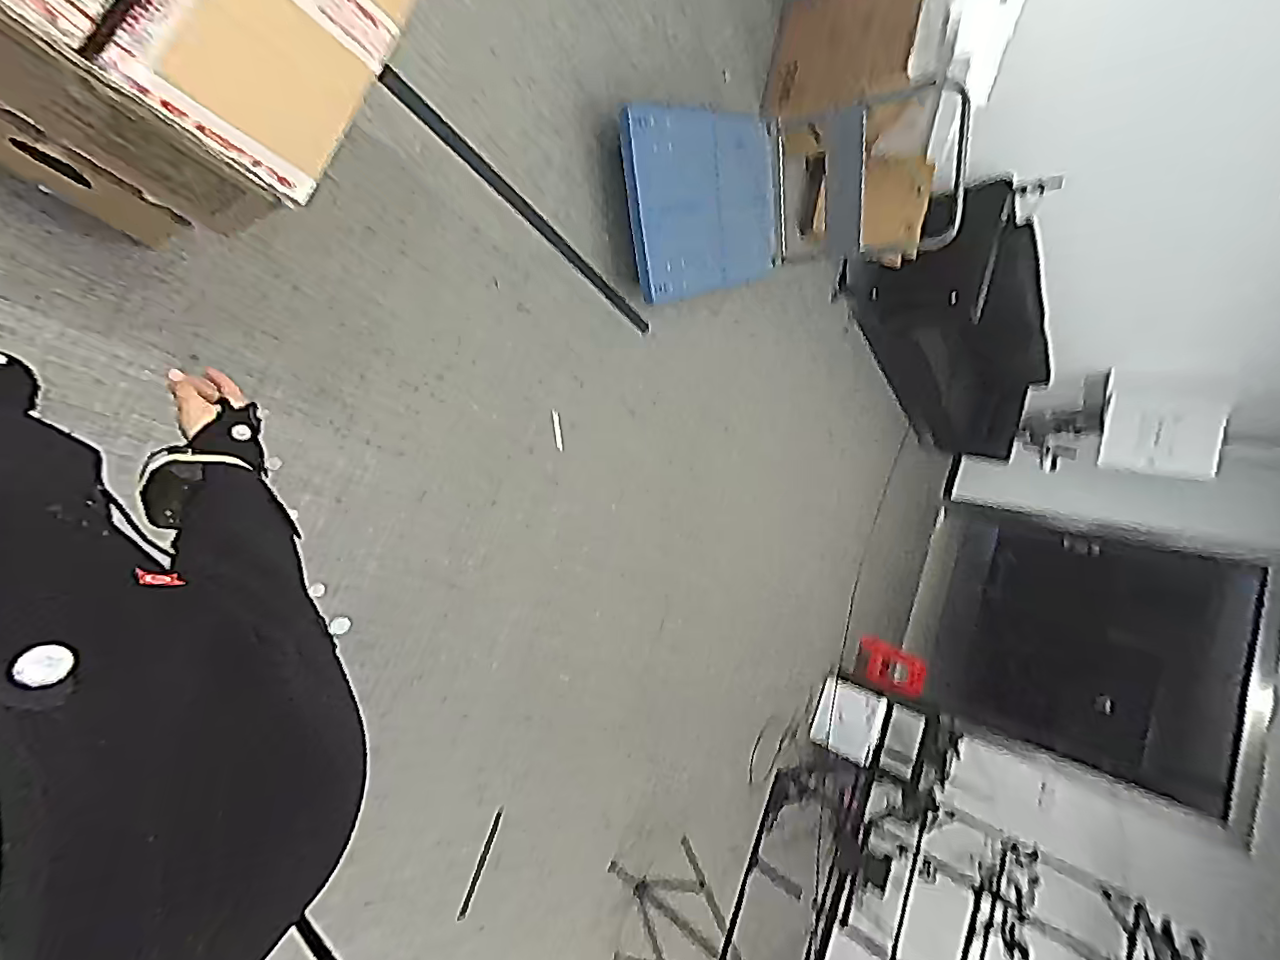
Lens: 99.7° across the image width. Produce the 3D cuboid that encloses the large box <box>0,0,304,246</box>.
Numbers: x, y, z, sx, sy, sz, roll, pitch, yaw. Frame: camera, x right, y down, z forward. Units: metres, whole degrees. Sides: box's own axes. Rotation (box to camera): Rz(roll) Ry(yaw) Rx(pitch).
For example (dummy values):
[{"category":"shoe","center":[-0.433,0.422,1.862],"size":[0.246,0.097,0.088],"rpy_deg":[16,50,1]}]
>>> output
[{"category":"large box","center":[-0.821,-0.649,0.853],"size":[0.320,0.320,0.408],"rpy_deg":[31,77,-48]}]
